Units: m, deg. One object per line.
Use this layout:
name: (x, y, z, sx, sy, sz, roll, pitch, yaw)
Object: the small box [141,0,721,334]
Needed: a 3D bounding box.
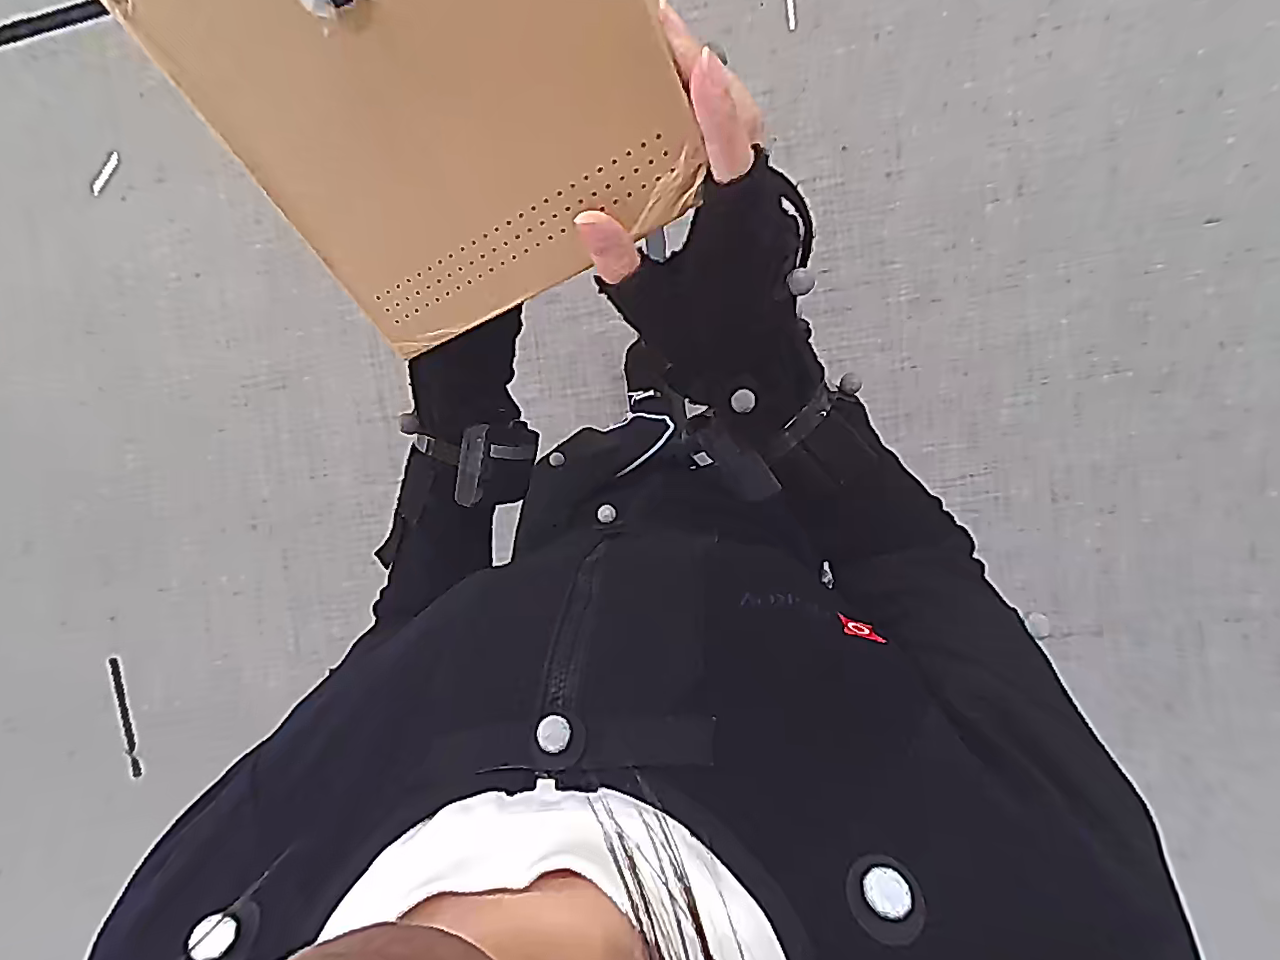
small box: (-0.073, -0.203, 0.277, 0.179, 0.168, 0.176, -18, 127, 23)
